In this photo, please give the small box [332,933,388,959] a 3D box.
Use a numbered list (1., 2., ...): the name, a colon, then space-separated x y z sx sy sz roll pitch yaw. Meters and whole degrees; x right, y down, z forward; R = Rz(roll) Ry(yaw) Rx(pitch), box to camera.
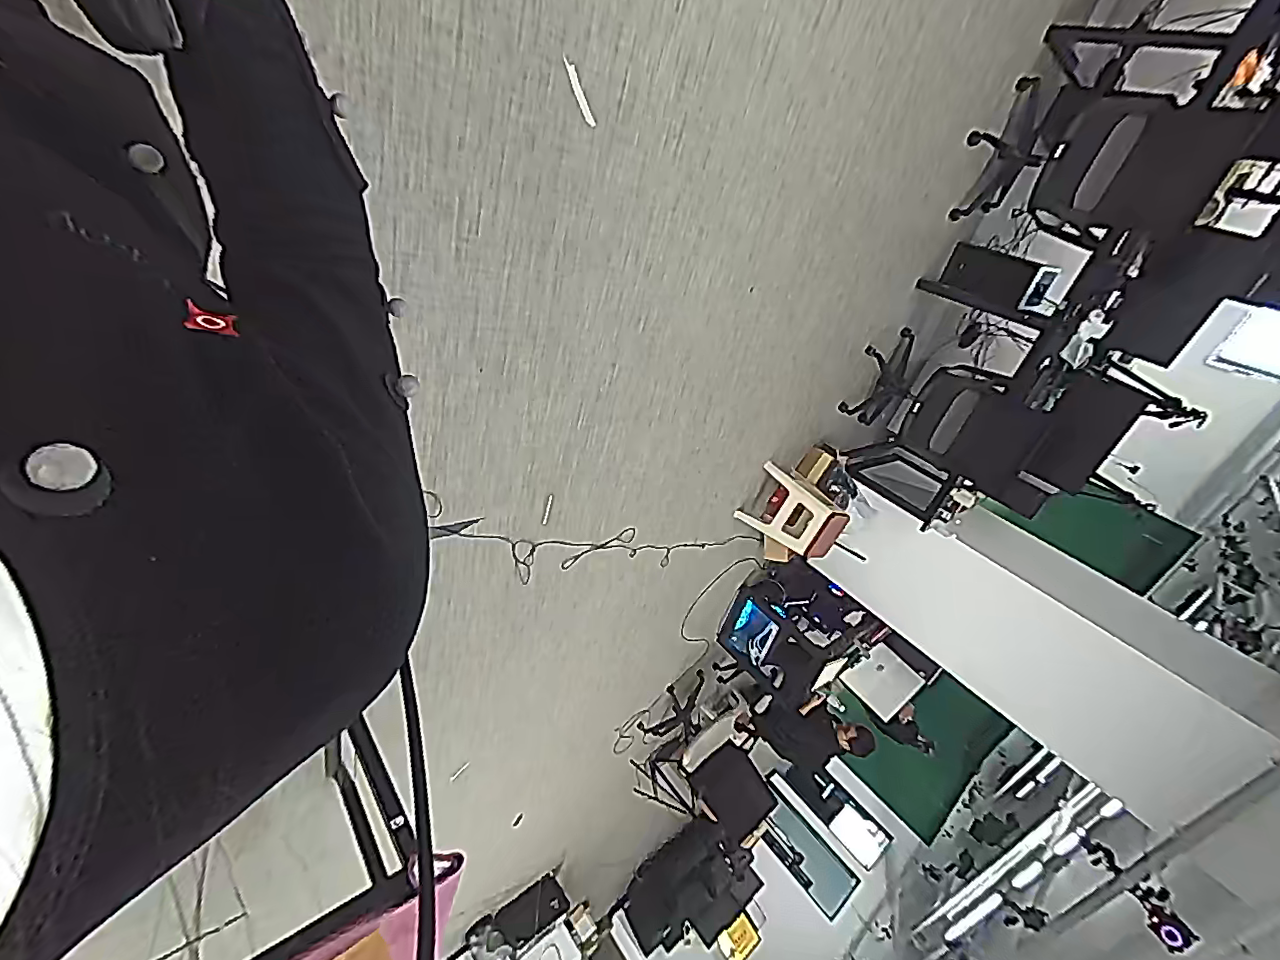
1. small box: -0.728 1.319 1.384 0.168 0.176 0.179 -17 134 -38
